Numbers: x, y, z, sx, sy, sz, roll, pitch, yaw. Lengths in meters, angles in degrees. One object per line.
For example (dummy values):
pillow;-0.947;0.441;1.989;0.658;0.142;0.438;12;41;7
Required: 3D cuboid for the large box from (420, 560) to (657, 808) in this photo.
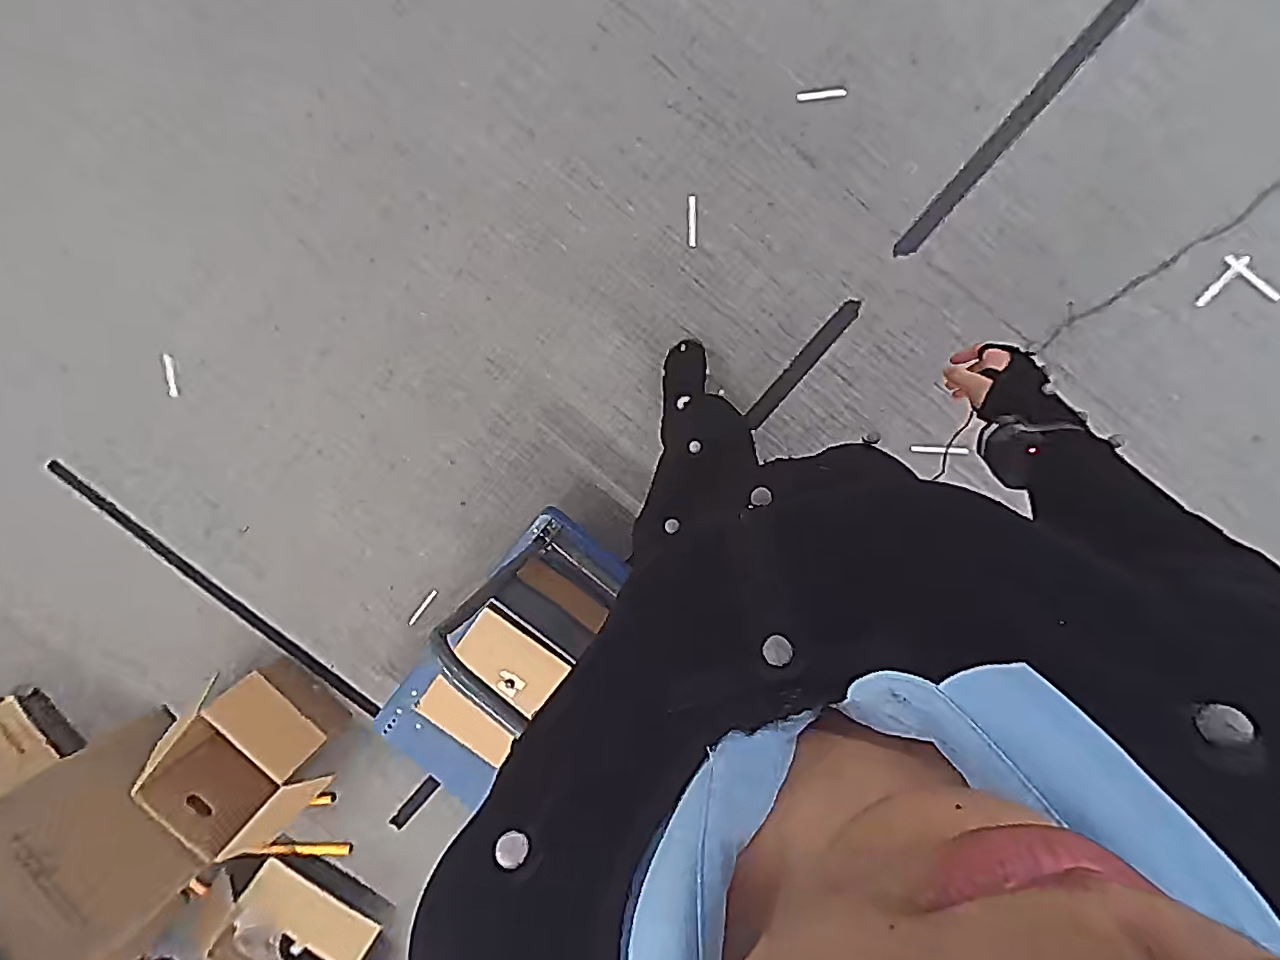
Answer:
large box;-0.216;0.463;1.293;0.408;0.320;0.320;36;103;0
